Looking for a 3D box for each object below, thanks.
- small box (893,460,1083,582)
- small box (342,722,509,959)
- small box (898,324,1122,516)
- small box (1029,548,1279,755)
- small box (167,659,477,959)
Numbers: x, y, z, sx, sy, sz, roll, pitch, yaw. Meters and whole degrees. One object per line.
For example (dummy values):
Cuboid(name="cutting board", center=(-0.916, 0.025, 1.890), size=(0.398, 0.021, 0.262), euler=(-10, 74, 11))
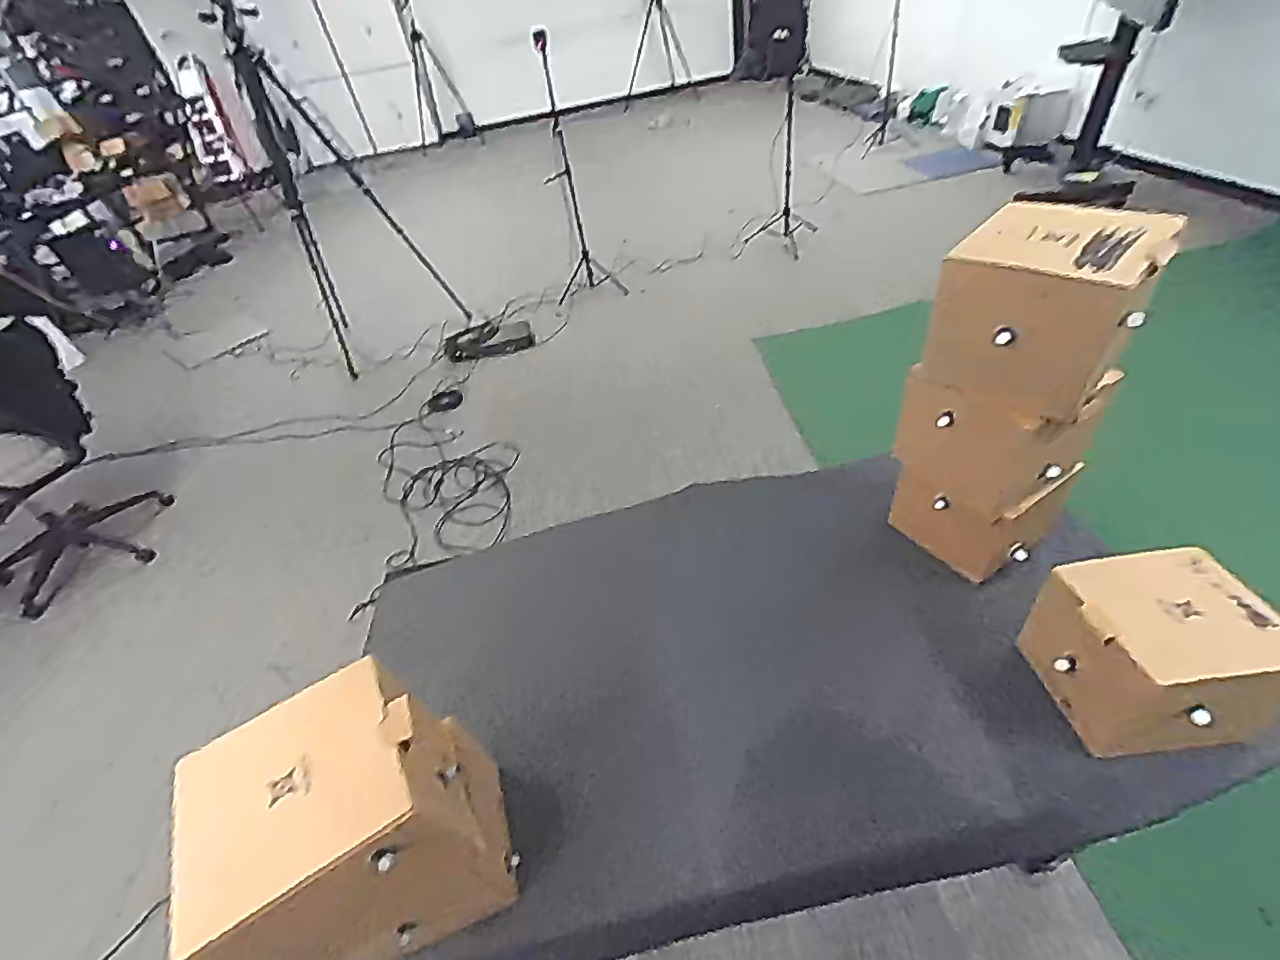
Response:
Cuboid(name="small box", center=(0.536, 0.027, 0.863), size=(0.168, 0.176, 0.179), euler=(-30, 48, -15))
Cuboid(name="small box", center=(-0.262, 0.418, 0.623), size=(0.179, 0.176, 0.168), euler=(-21, 45, -9))
Cuboid(name="small box", center=(0.488, -0.083, 0.749), size=(0.168, 0.176, 0.179), euler=(-27, 46, -12))
Cuboid(name="small box", center=(0.609, 0.209, 0.651), size=(0.179, 0.176, 0.168), euler=(-9, 39, 4))
Cuboid(name="small box", center=(-0.280, 0.312, 0.501), size=(0.179, 0.176, 0.168), euler=(-29, 47, -18))
